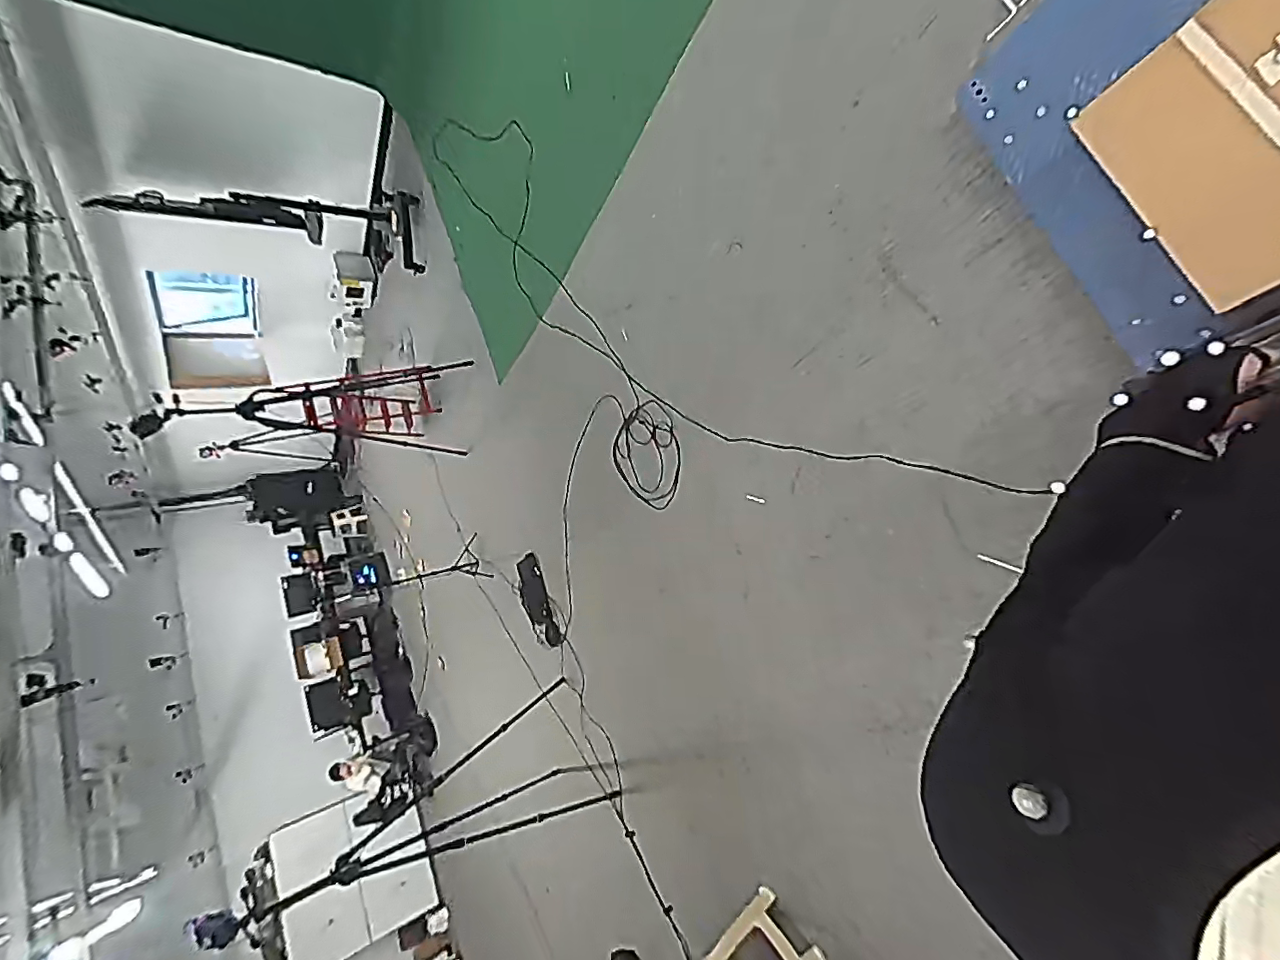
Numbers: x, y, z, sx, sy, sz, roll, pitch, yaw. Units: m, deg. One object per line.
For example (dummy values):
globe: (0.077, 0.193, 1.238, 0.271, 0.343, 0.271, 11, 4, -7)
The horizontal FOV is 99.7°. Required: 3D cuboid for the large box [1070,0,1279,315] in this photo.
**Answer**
large box: (0.996, -0.518, 0.844, 0.320, 0.320, 0.408, -39, 67, 48)
